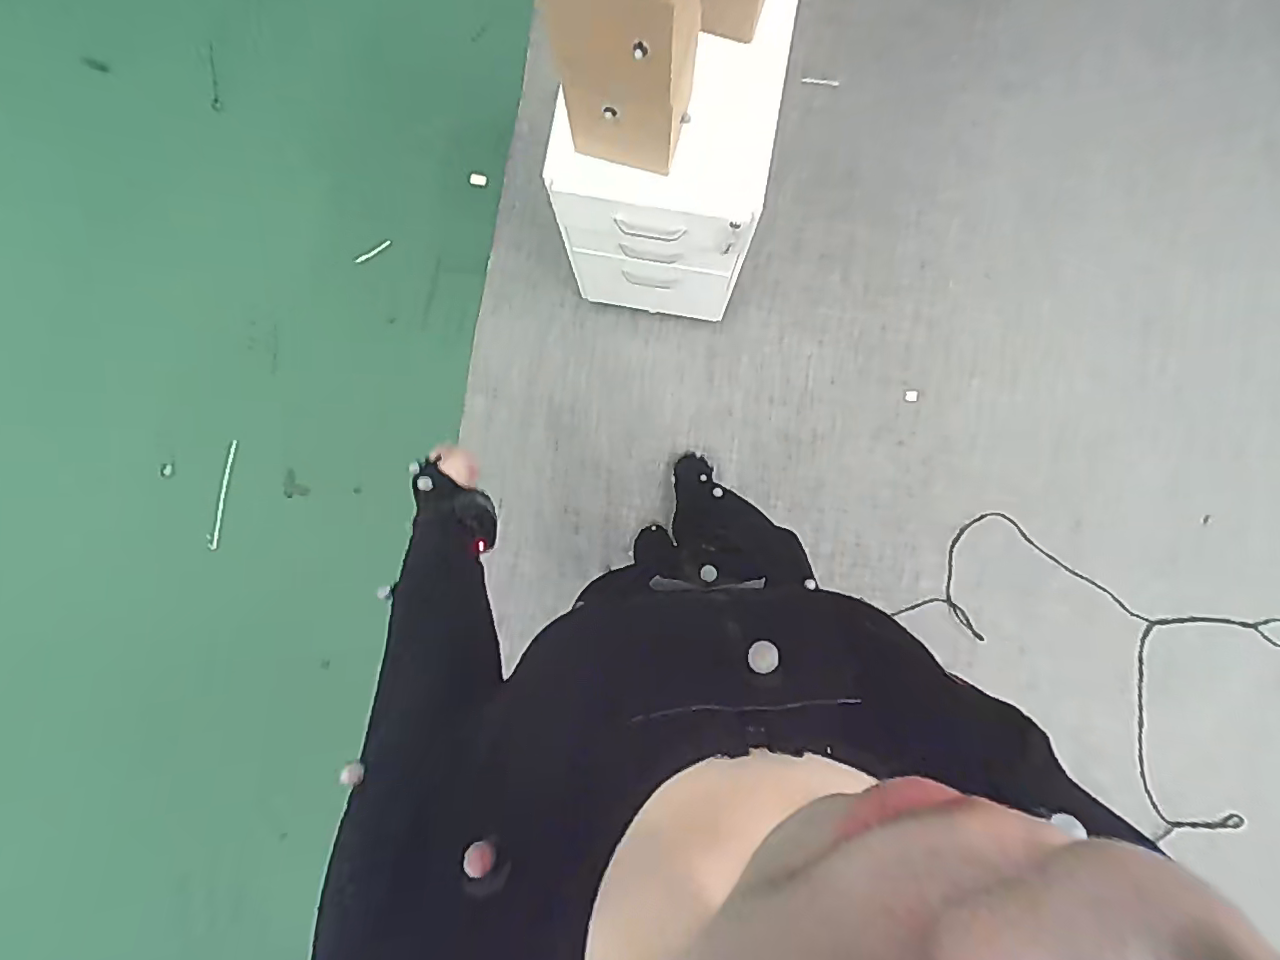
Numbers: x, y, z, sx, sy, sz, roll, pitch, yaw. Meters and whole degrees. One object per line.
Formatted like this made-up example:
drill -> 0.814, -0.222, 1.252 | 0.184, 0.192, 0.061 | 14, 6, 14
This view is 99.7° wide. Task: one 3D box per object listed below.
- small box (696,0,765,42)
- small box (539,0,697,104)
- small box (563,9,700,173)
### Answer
small box -> 0.135, -0.880, 0.895 | 0.179, 0.176, 0.168 | 17, 88, 3
small box -> -0.021, -0.648, 0.720 | 0.179, 0.176, 0.168 | 15, 85, 3
small box -> -0.014, -0.639, 0.882 | 0.179, 0.176, 0.168 | 16, 86, 1
